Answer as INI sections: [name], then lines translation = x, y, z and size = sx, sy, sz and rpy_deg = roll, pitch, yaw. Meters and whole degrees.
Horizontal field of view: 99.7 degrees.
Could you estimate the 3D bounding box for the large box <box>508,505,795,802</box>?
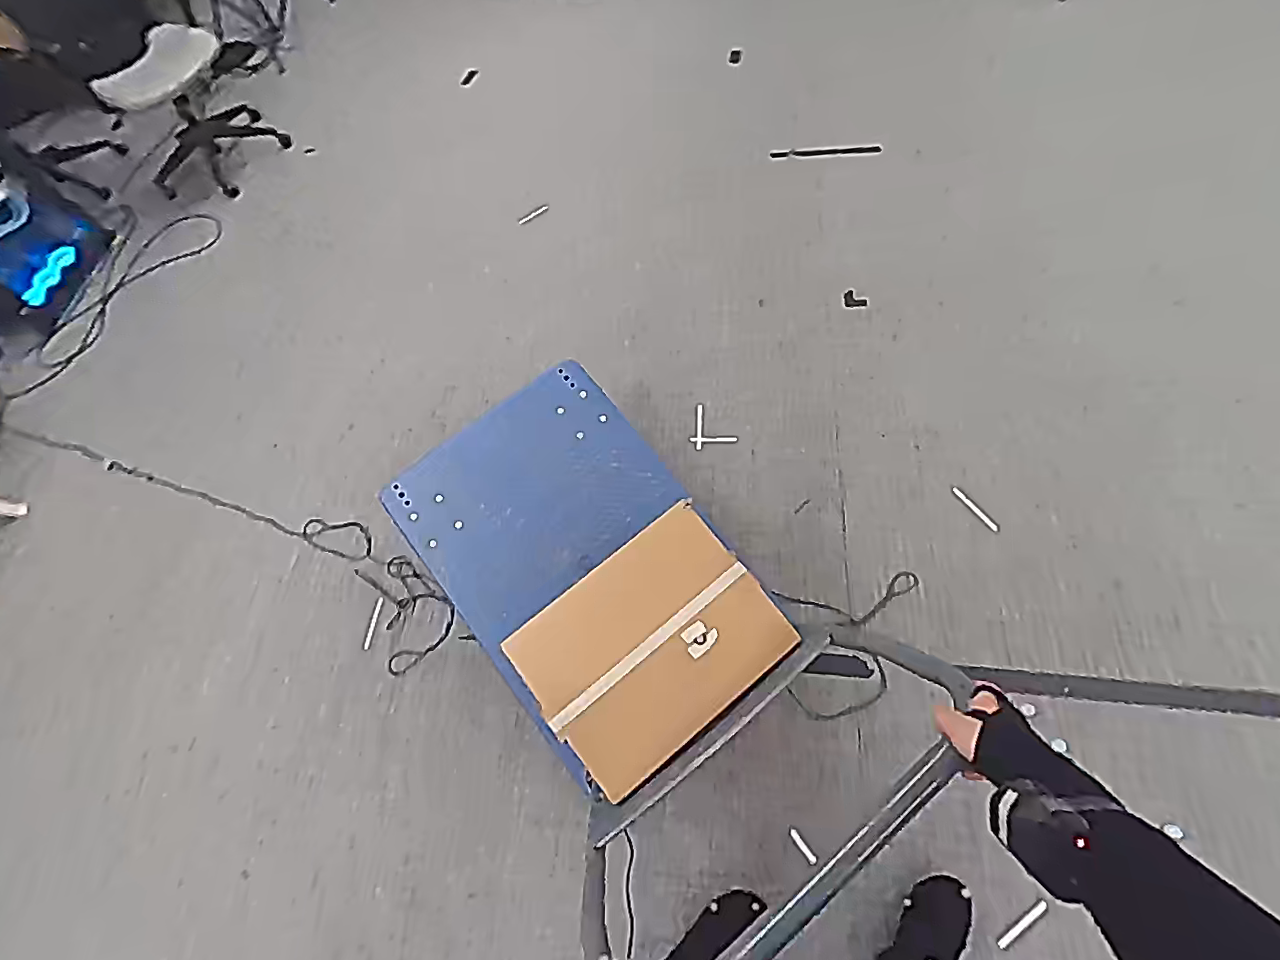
[large box]
translation = 0.018, 0.318, 1.057
size = 0.408, 0.320, 0.320
rpy_deg = -38, 80, -11
